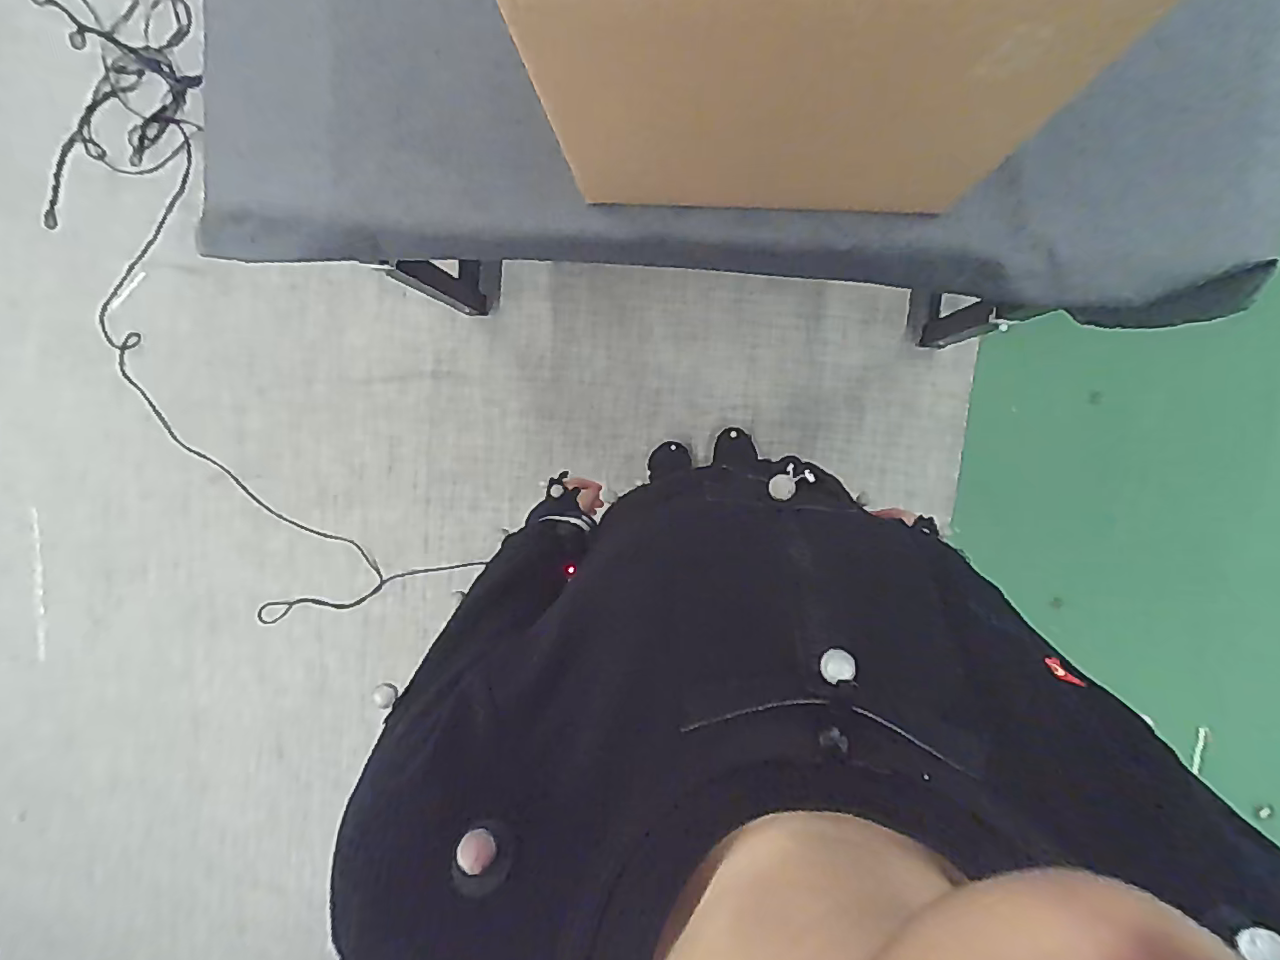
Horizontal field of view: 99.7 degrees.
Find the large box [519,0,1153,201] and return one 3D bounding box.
[{"bbox_3d":[0.131,-0.454,0.450,0.408,0.320,0.320,3,95,4],"label":"large box"}]
